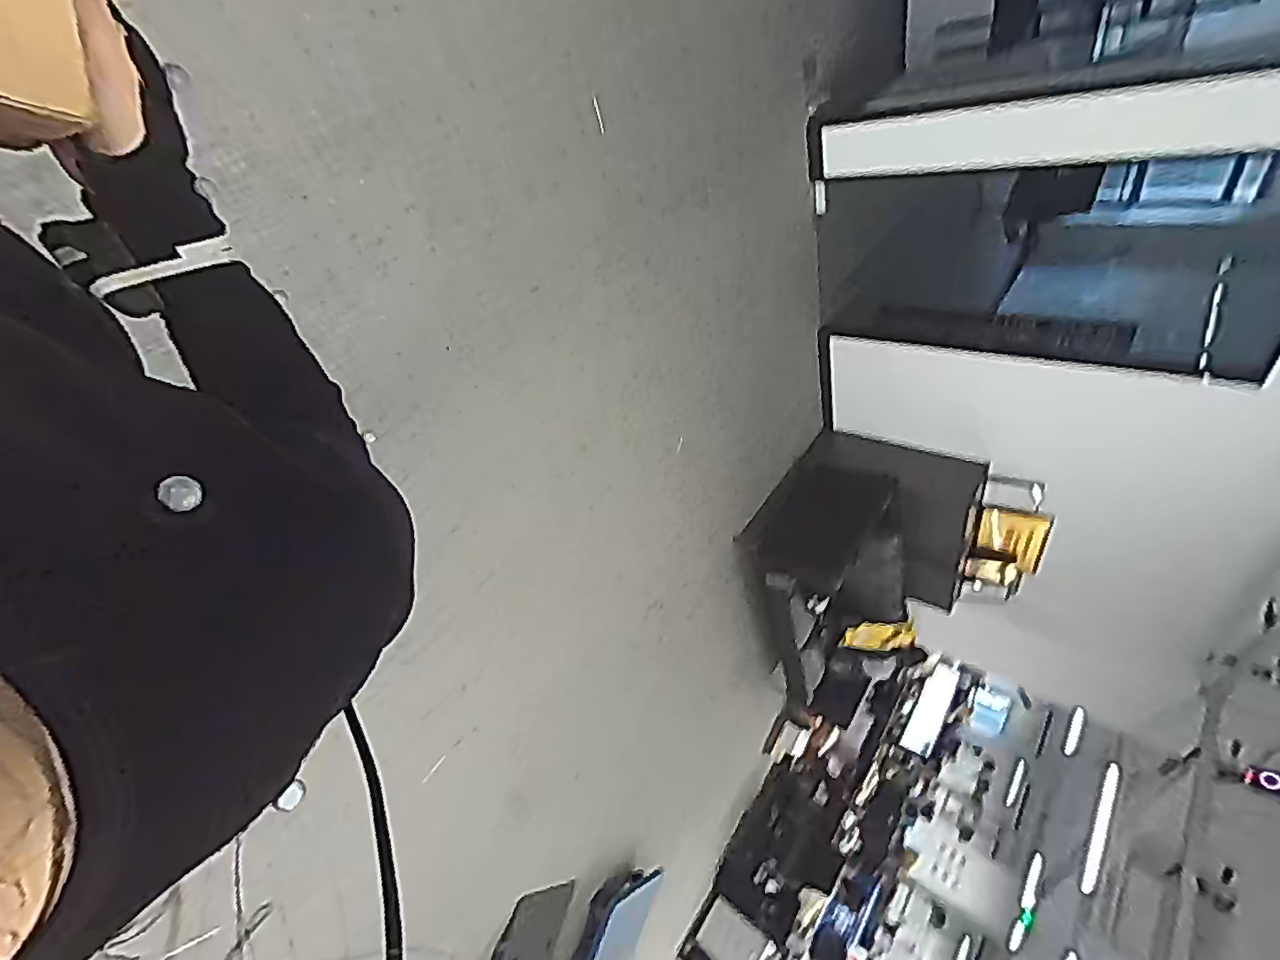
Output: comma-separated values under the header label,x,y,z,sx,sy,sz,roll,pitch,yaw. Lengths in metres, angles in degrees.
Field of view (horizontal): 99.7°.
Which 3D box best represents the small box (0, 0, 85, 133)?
label,x,y,z,sx,sy,sz,roll,pitch,yaw
small box,-0.373,-0.263,0.214,0.168,0.176,0.179,-20,122,-53
